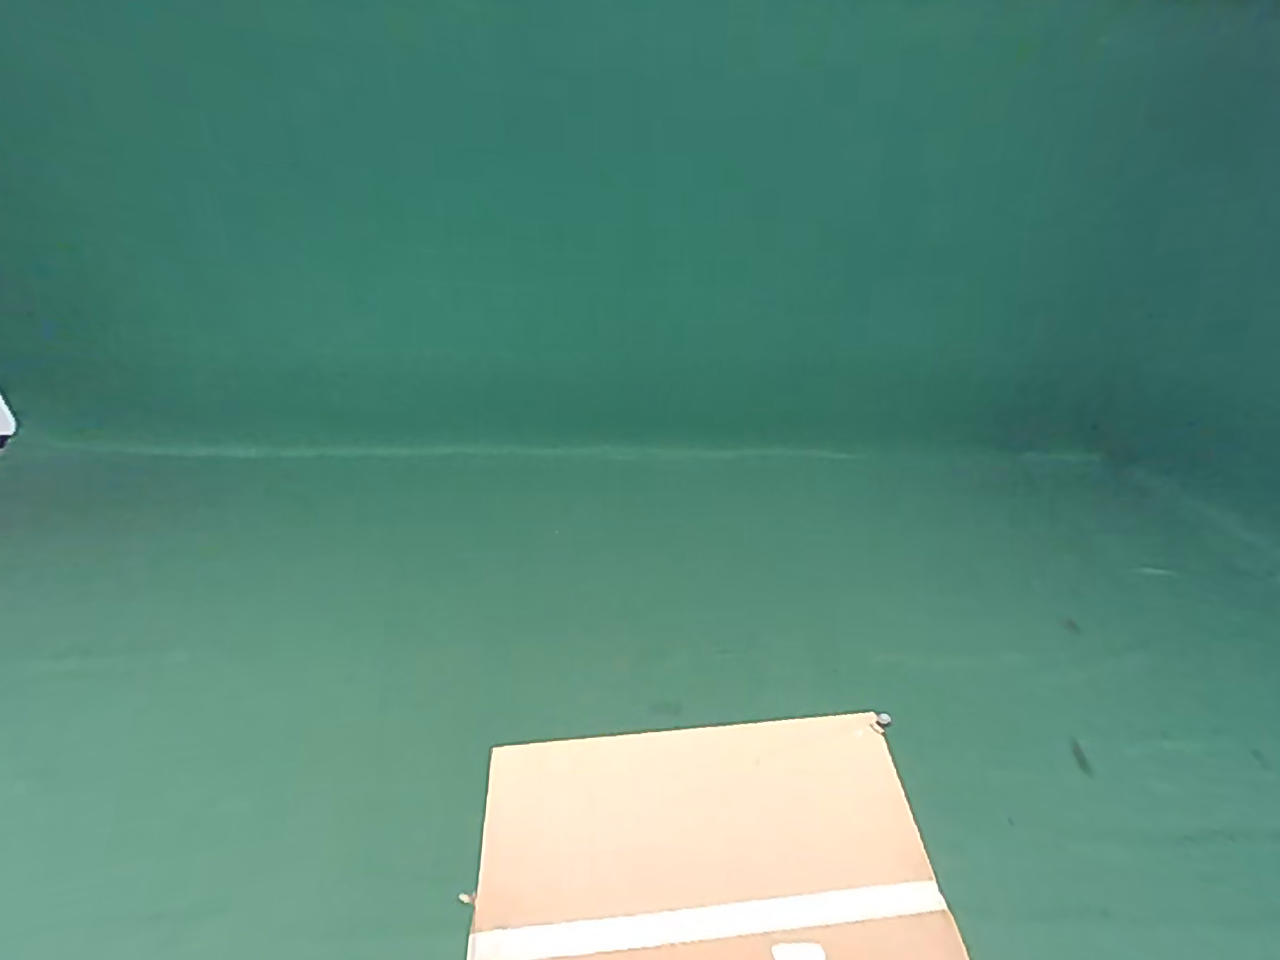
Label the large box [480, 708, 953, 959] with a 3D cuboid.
[{"bbox_3d":[0.059,0.477,0.584,0.408,0.320,0.320,-4,49,-4],"label":"large box"}]
